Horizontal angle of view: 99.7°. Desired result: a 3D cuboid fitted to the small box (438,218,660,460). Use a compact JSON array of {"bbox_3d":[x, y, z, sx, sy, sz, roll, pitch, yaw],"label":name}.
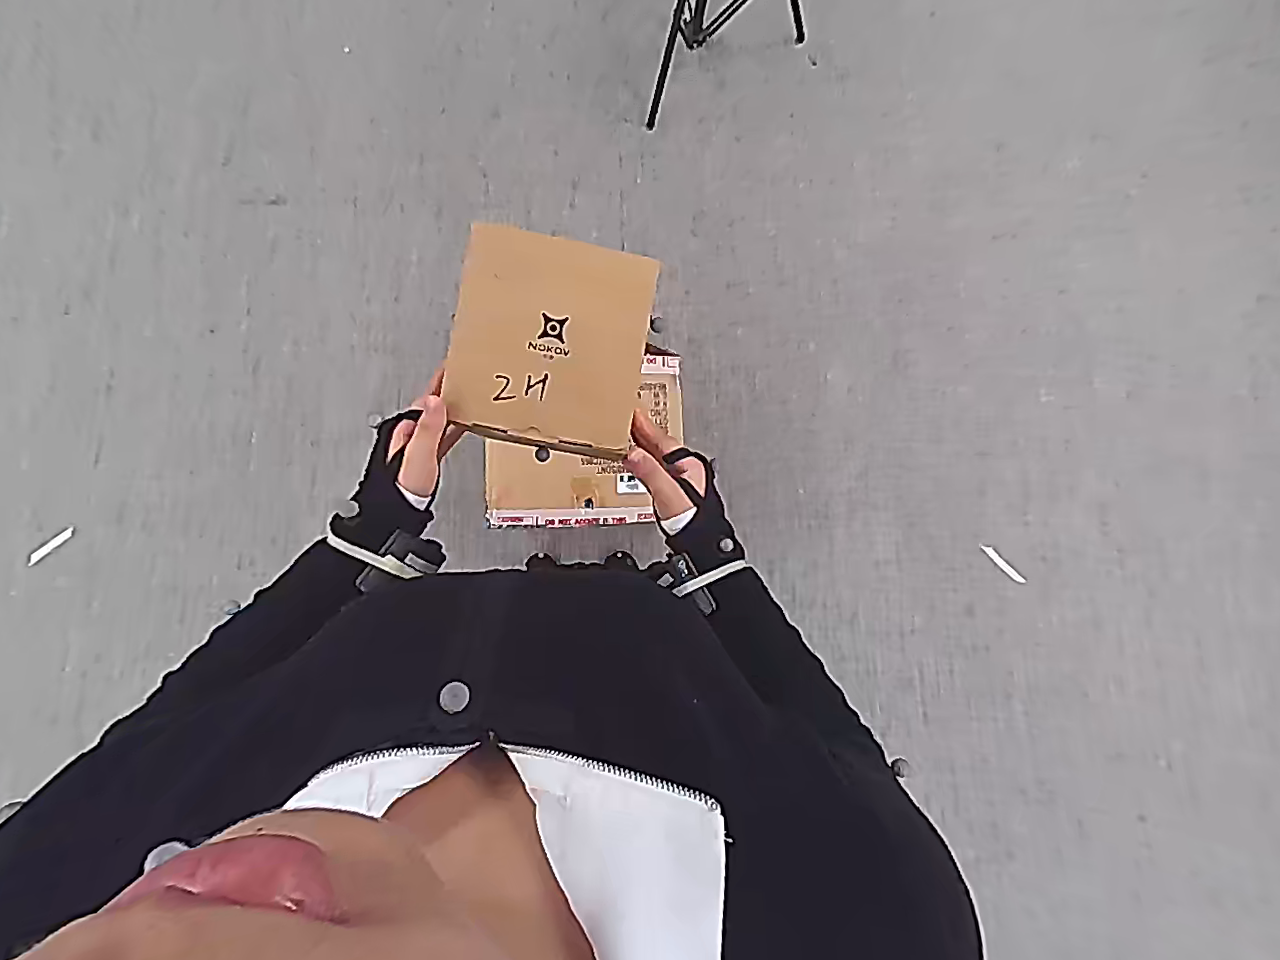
[{"bbox_3d":[-0.084,-0.123,0.543,0.168,0.176,0.179,10,88,-4],"label":"small box"}]
